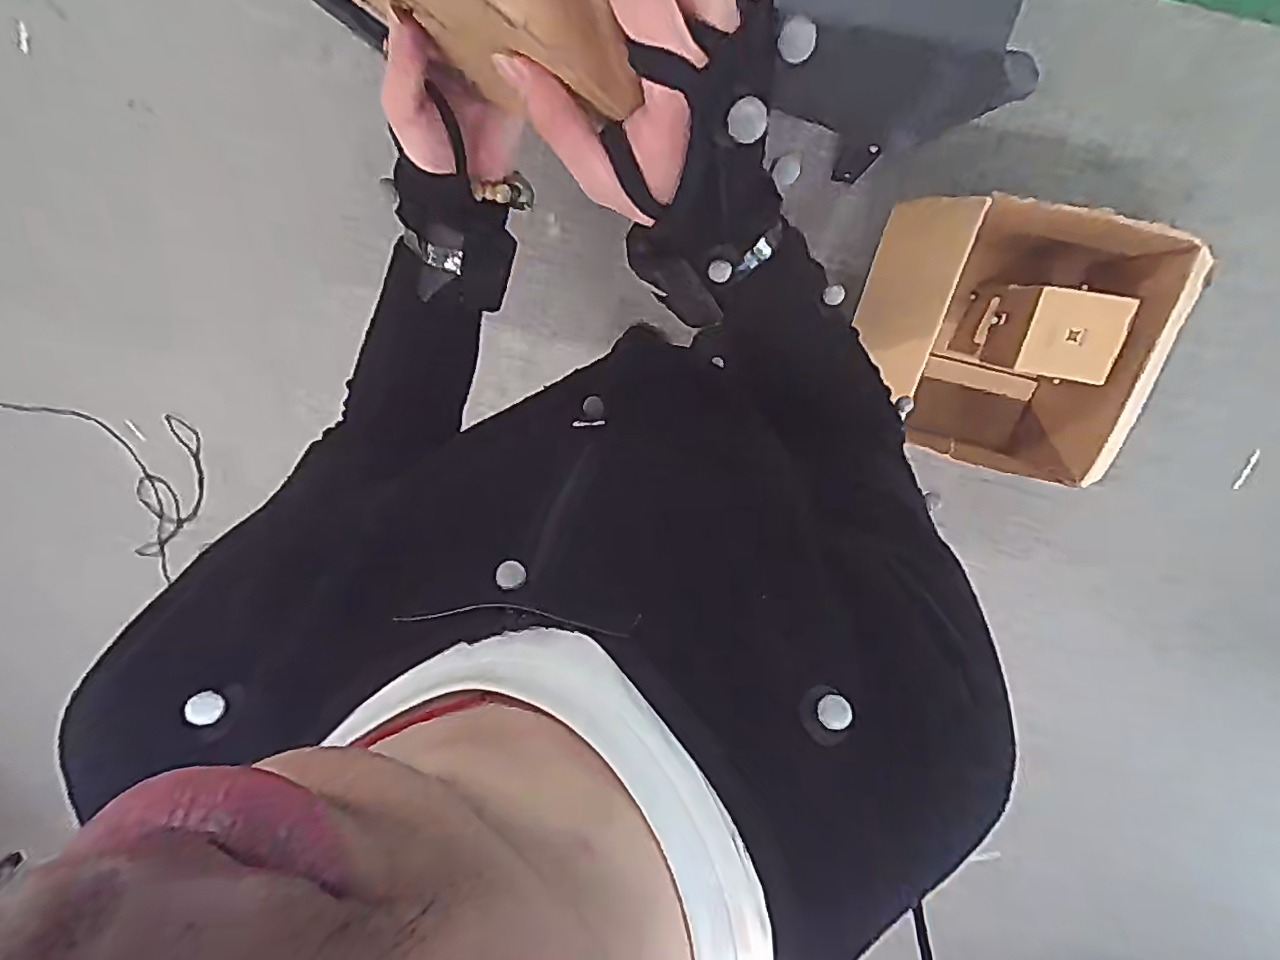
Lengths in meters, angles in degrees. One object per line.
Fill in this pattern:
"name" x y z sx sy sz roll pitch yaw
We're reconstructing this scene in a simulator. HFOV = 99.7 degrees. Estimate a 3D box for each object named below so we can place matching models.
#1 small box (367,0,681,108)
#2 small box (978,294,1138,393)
"small box" -0.064 -0.289 0.215 0.179 0.168 0.176 43 108 42
"small box" 0.845 -0.286 1.114 0.179 0.176 0.168 11 109 6
